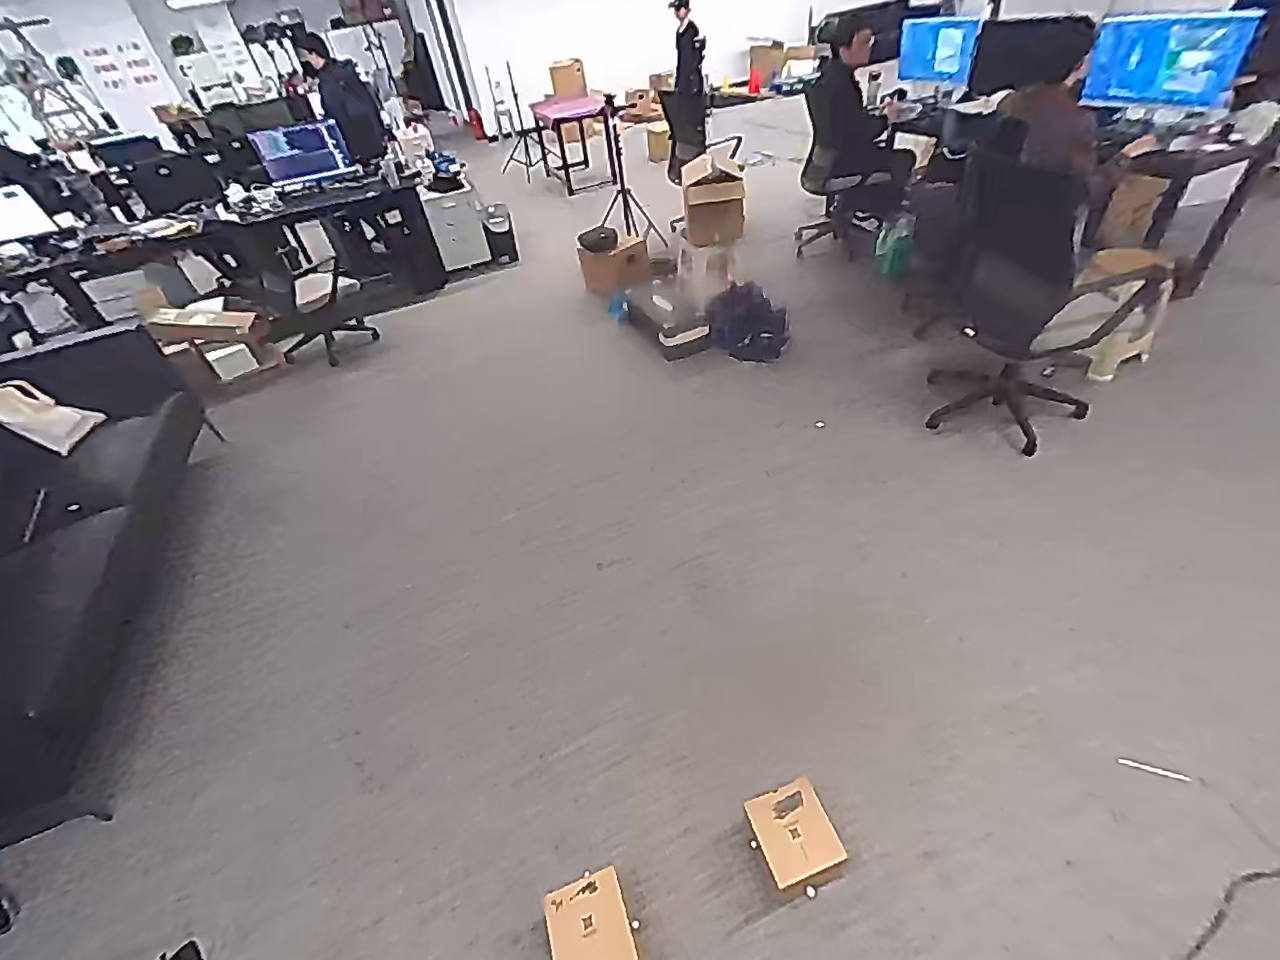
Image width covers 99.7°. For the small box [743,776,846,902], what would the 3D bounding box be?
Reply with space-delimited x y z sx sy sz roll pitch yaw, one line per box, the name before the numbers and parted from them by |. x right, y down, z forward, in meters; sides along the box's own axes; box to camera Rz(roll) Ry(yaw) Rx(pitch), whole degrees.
small box | 0.348 0.832 1.253 0.168 0.176 0.179 -19 43 -9

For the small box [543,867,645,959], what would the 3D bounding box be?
small box | -0.096 0.987 1.170 0.168 0.176 0.179 -18 42 -9
